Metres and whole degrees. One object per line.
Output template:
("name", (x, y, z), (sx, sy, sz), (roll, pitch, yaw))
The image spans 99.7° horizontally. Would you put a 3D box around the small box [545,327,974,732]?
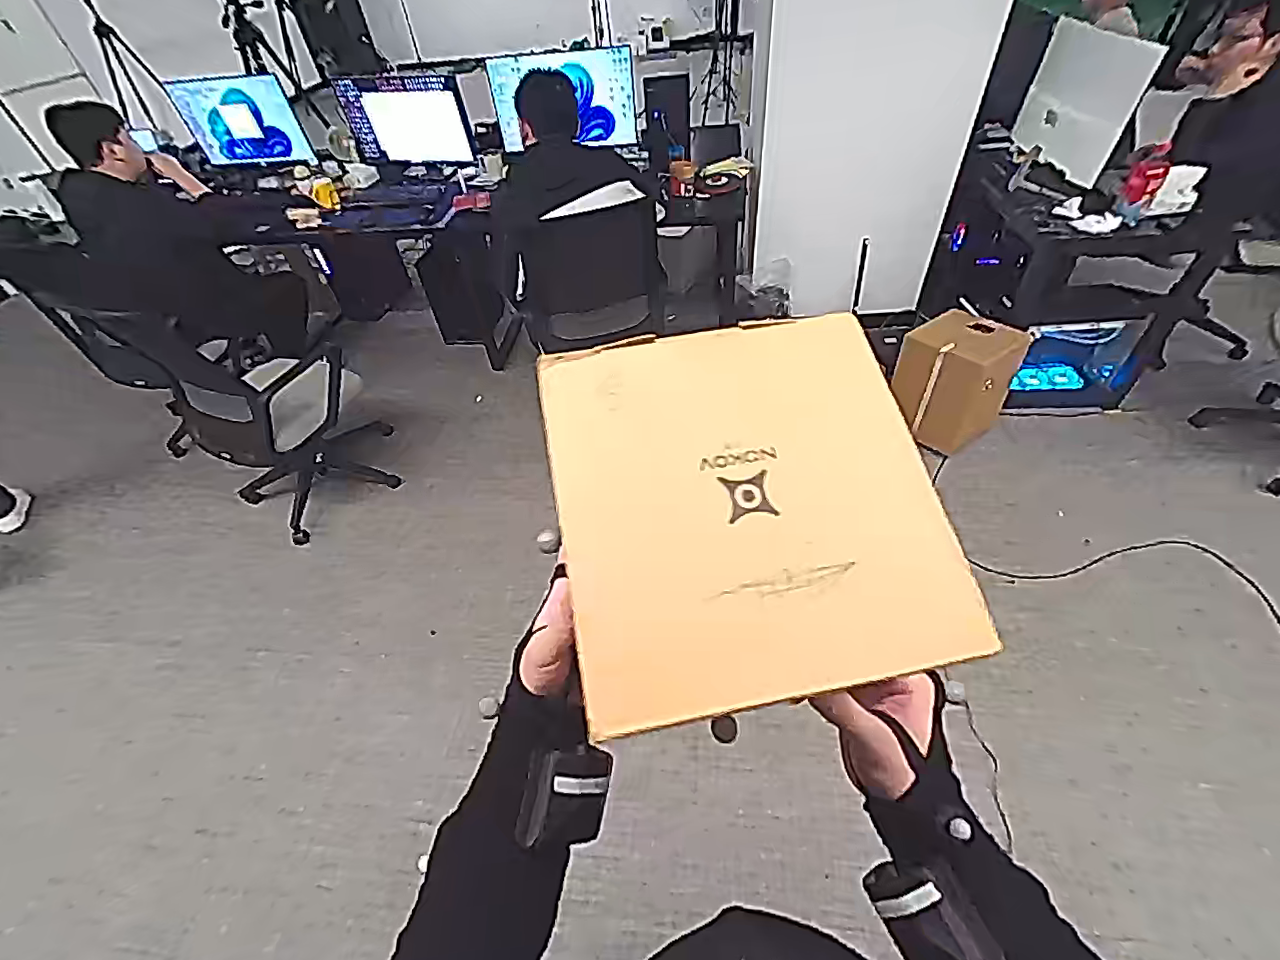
("small box", (0.043, 0.039, 0.324), (0.168, 0.176, 0.179), (-10, 69, -5))
